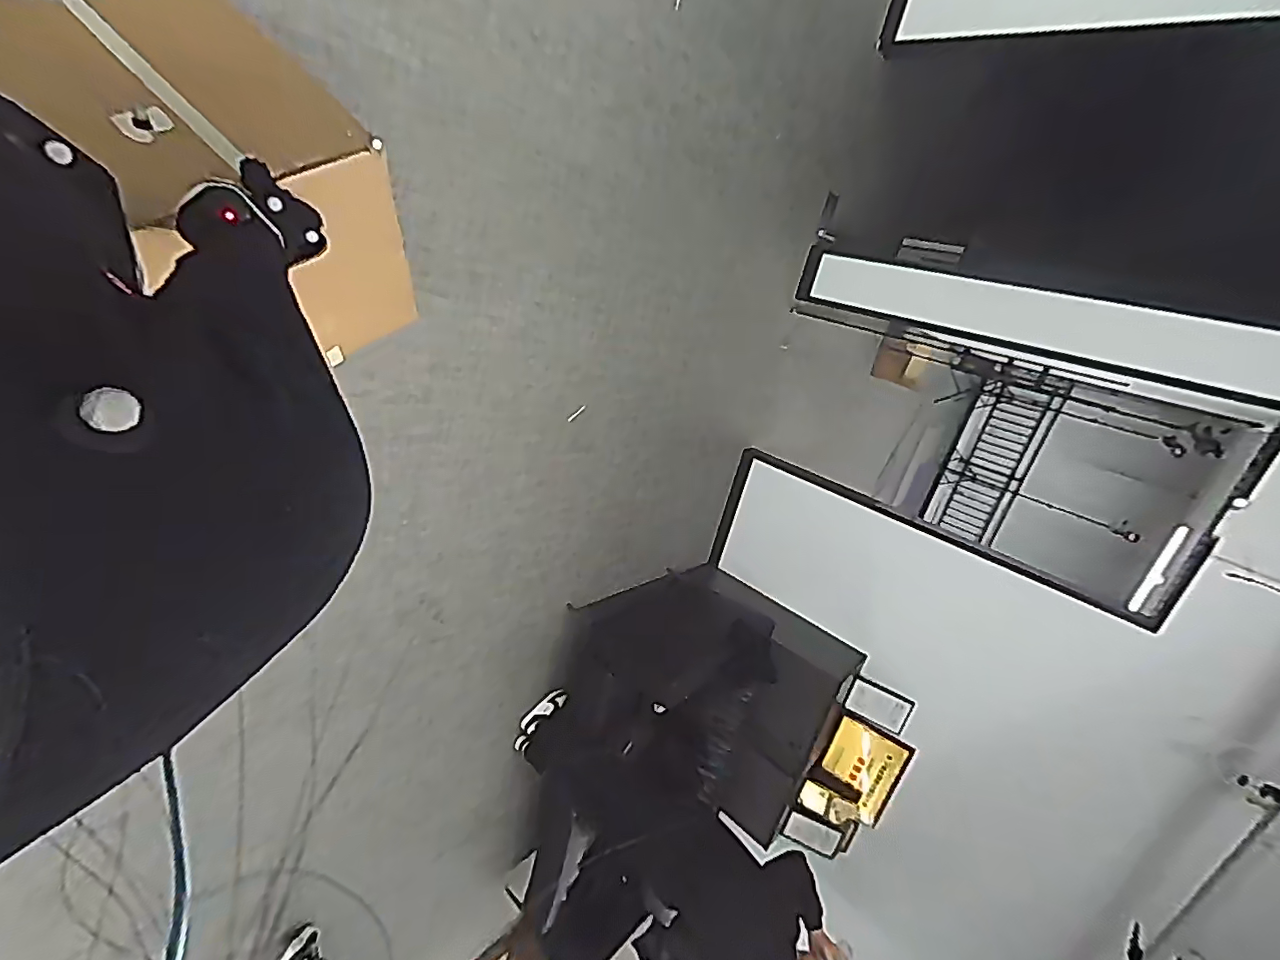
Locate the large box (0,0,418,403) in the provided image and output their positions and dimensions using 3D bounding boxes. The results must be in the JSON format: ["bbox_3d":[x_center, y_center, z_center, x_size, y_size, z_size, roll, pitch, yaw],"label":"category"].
[{"bbox_3d":[-0.590,-0.394,0.770,0.320,0.408,0.320,-42,169,-26],"label":"large box"}]
